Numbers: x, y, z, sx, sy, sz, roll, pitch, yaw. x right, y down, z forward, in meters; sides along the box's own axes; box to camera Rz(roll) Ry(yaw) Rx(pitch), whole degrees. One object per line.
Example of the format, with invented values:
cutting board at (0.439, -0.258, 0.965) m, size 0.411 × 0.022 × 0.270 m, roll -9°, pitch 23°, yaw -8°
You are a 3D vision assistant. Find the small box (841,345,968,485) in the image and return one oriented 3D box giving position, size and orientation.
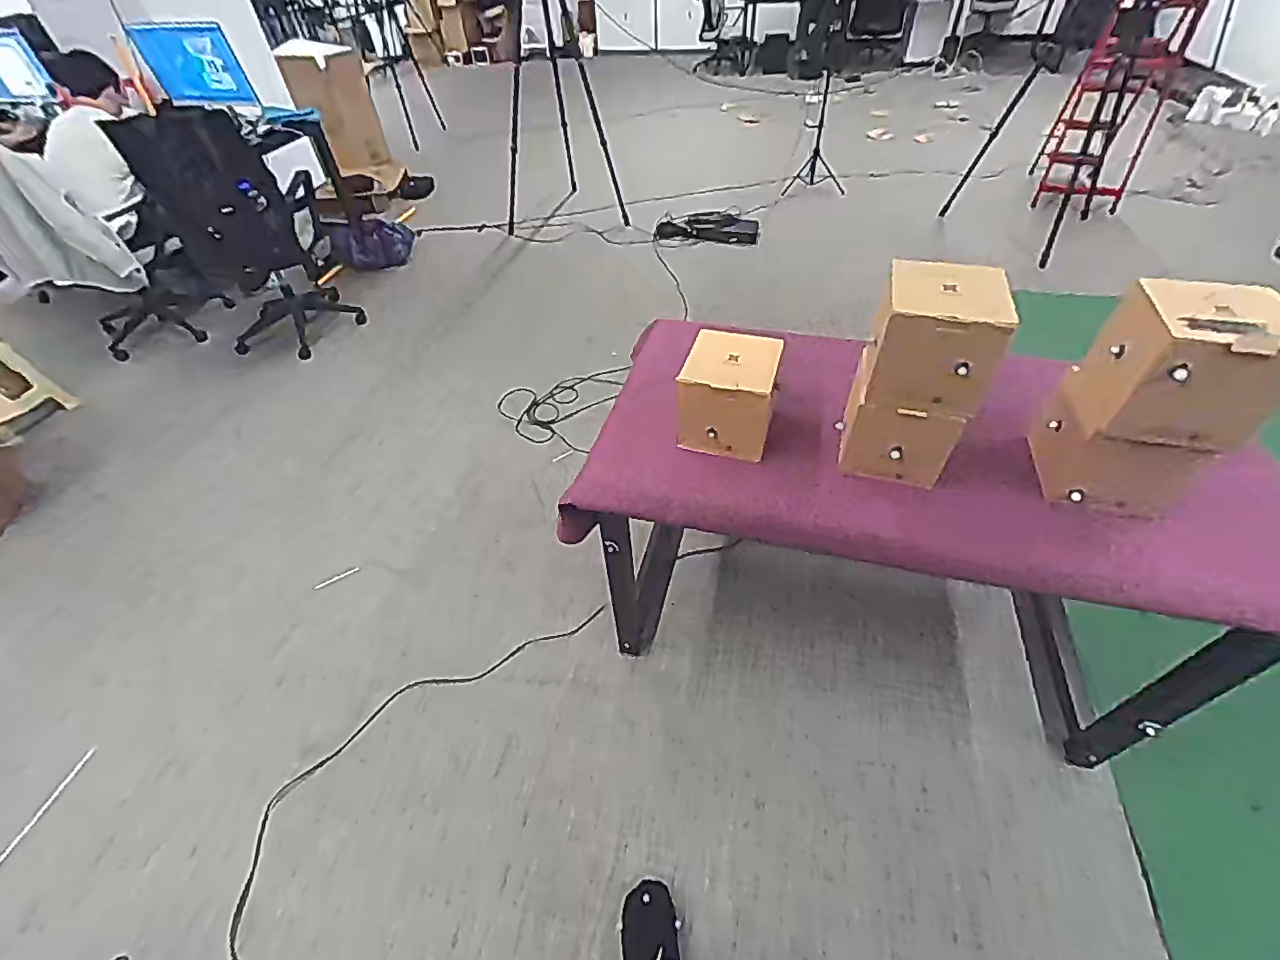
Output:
small box at (0.468, -0.115, 0.974) m, size 0.168 × 0.176 × 0.179 m, roll 12°, pitch 49°, yaw 14°

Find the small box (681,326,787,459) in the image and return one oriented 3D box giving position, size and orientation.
small box at (0.177, -0.169, 1.045) m, size 0.168 × 0.176 × 0.179 m, roll 12°, pitch 49°, yaw 14°

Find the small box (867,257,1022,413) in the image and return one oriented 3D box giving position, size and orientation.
small box at (0.467, -0.228, 0.855) m, size 0.168 × 0.176 × 0.179 m, roll 12°, pitch 48°, yaw 14°

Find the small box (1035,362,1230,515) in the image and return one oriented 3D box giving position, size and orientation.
small box at (0.799, -0.067, 0.904) m, size 0.168 × 0.176 × 0.179 m, roll 14°, pitch 49°, yaw 14°
